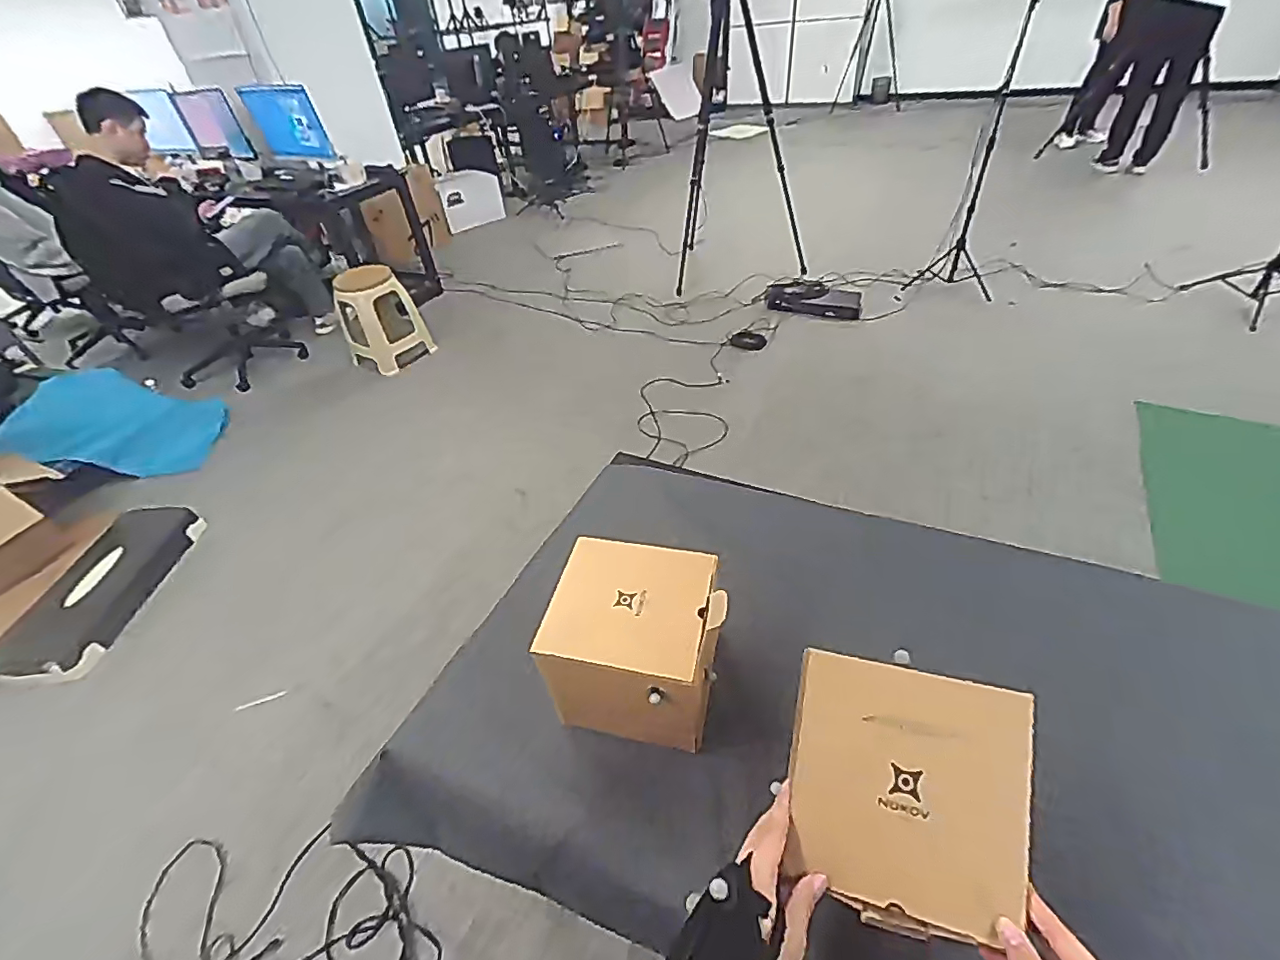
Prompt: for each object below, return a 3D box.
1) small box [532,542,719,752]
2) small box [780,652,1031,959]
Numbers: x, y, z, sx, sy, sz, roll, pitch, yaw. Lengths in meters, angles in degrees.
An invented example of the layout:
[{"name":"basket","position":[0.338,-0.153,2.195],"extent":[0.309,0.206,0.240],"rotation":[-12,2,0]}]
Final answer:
[{"name":"small box","position":[-0.004,0.198,0.647],"extent":[0.179,0.176,0.168],"rotation":[6,42,13]},{"name":"small box","position":[0.222,0.261,0.486],"extent":[0.168,0.176,0.179],"rotation":[7,74,17]}]
